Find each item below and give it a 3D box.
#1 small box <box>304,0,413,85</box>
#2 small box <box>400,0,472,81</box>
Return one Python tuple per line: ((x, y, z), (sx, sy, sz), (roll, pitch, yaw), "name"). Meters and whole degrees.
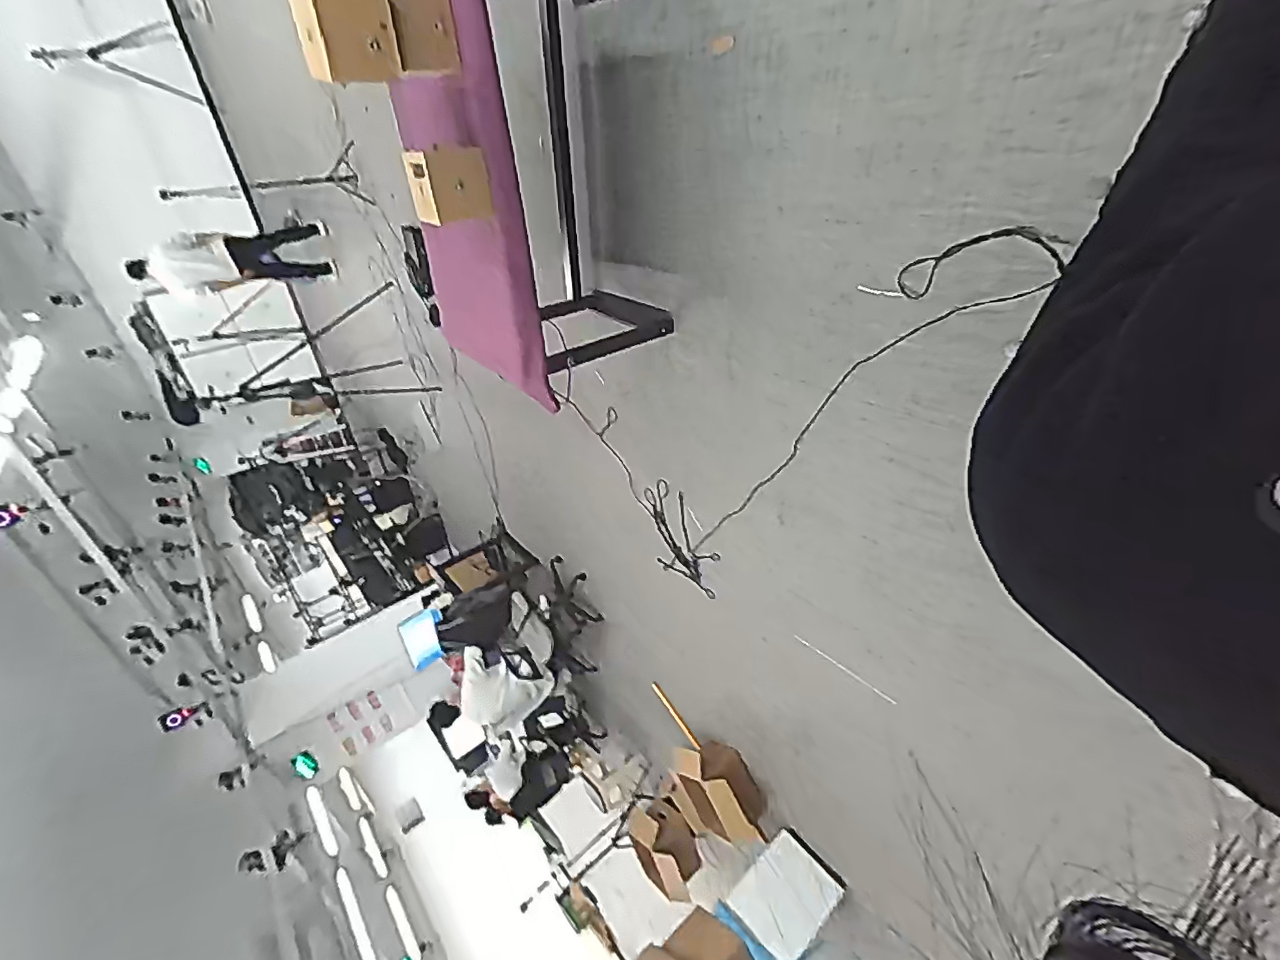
((-0.665, -1.050, 1.287), (0.179, 0.176, 0.168), (38, 142, 35), "small box")
((-0.552, -1.131, 1.375), (0.168, 0.176, 0.179), (34, 138, 42), "small box")
